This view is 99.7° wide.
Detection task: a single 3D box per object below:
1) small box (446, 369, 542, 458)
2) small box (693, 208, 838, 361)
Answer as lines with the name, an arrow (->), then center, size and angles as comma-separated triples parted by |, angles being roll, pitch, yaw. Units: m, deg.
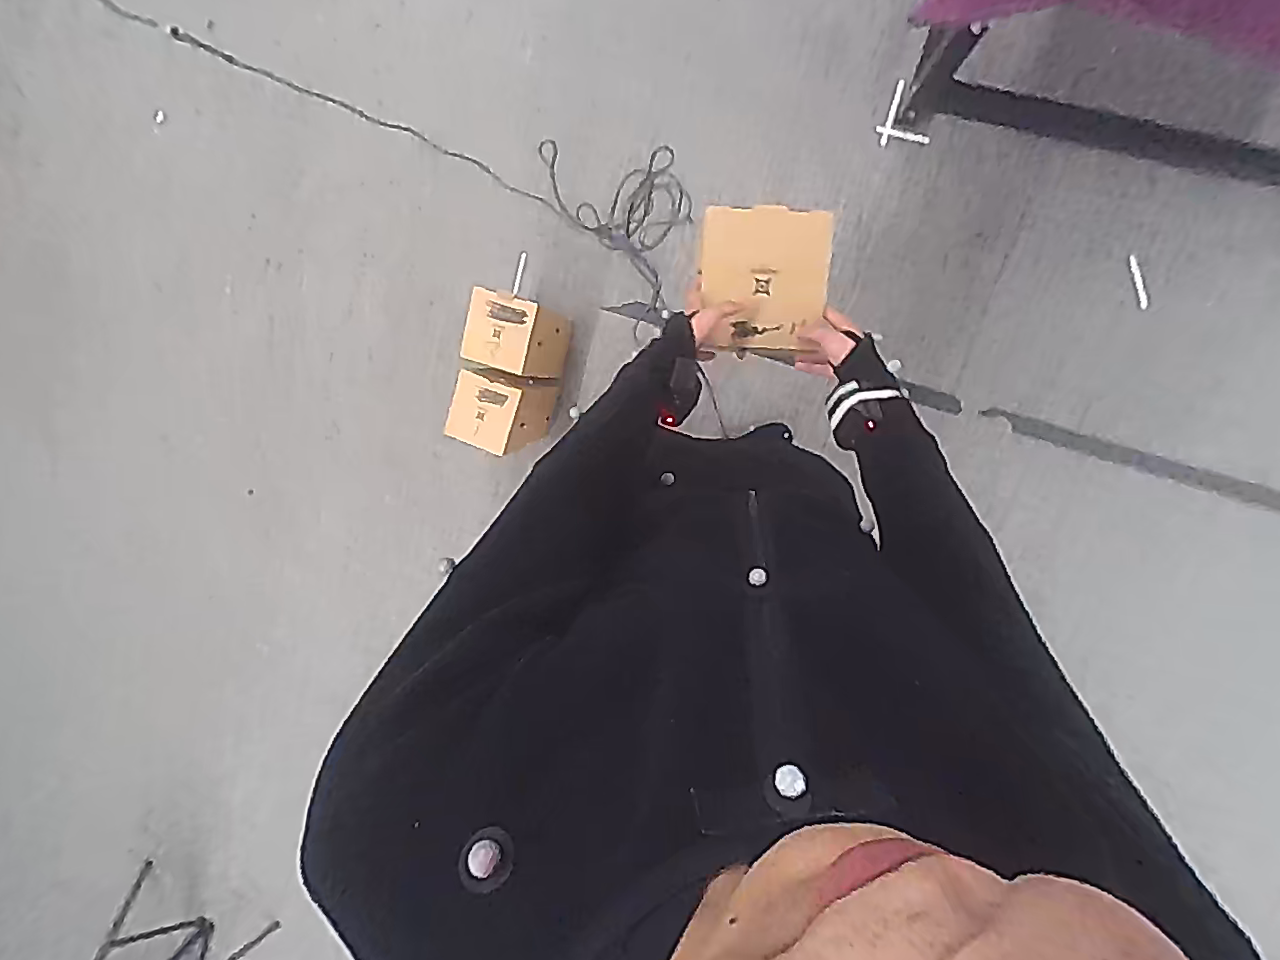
small box -> -0.373, -0.180, 1.413 | 0.168, 0.176, 0.179 | 23, 105, 5
small box -> 0.166, -0.268, 0.776 | 0.168, 0.176, 0.179 | 5, 101, 2
